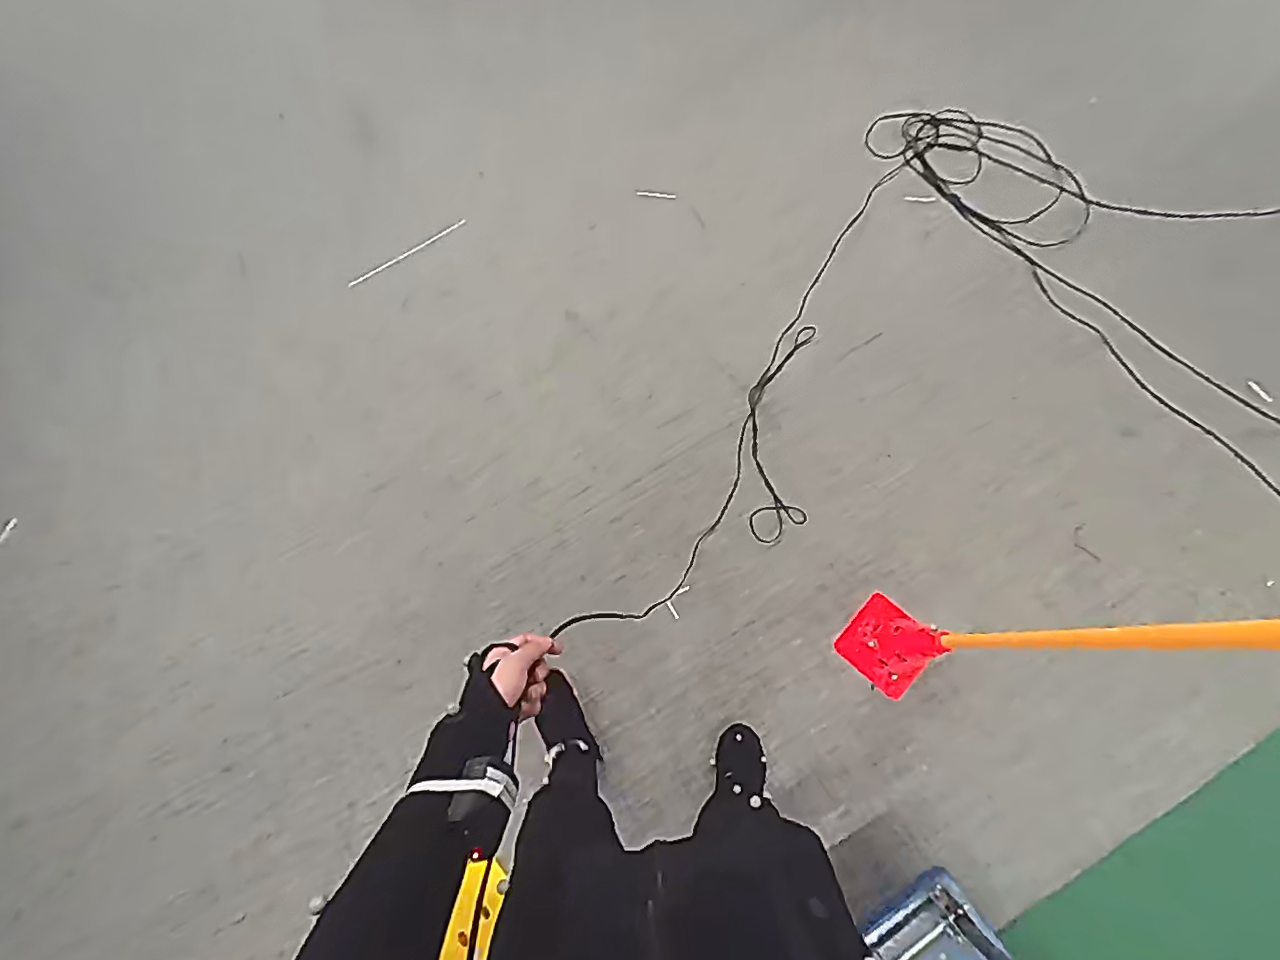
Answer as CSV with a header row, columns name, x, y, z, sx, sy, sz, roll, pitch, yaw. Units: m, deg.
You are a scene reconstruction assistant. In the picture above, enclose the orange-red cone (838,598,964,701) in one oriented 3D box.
name,x,y,z,sx,sy,sz,roll,pitch,yaw
orange-red cone,0.620,0.373,1.213,0.198,0.360,0.199,42,79,15
